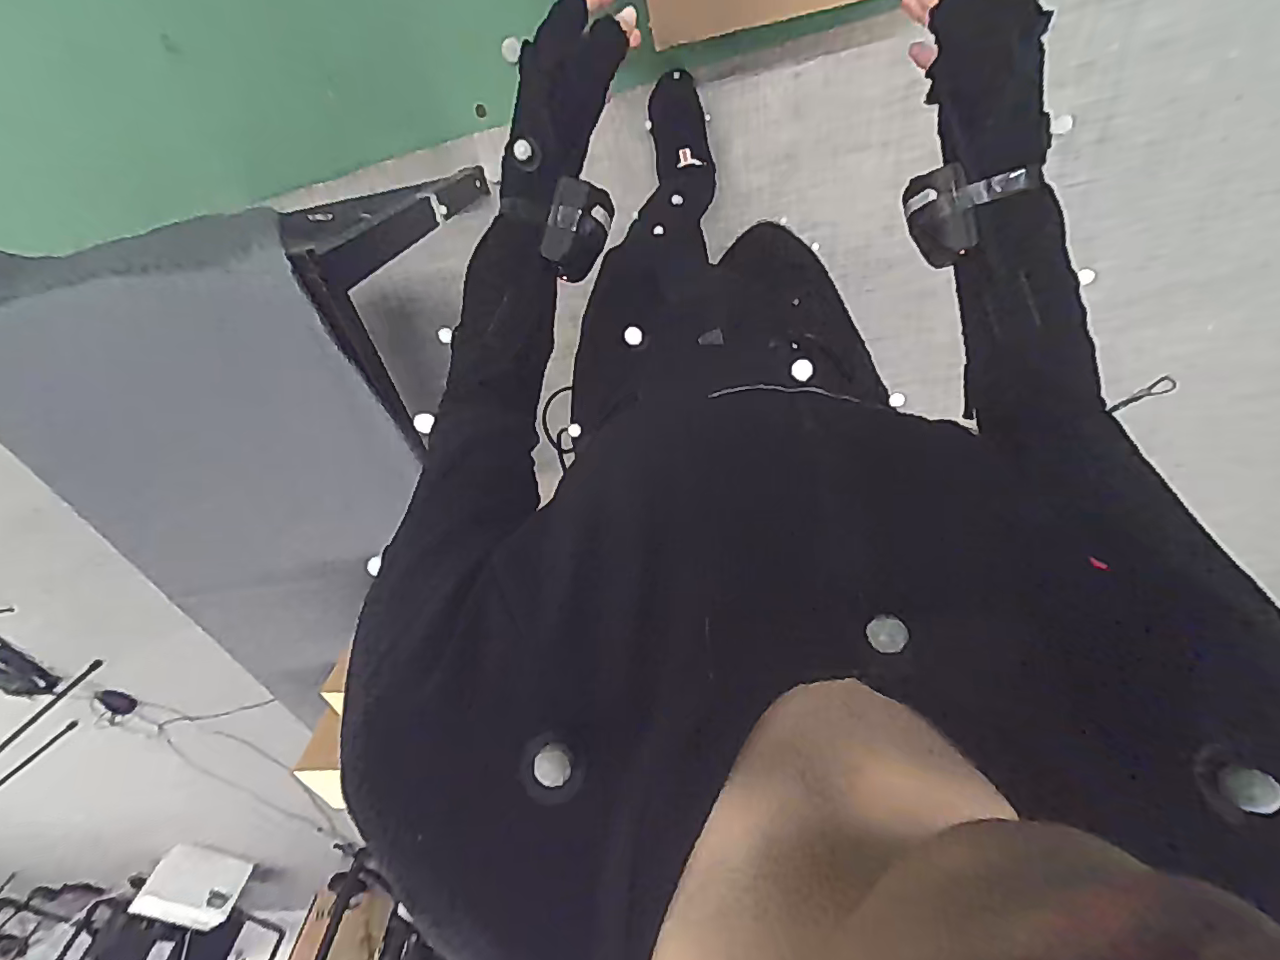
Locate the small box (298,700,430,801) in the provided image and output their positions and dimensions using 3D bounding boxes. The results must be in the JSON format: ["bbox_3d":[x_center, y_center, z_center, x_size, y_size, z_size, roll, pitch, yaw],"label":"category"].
[{"bbox_3d":[-0.565,0.556,1.148,0.179,0.176,0.168,-6,127,8],"label":"small box"}]
